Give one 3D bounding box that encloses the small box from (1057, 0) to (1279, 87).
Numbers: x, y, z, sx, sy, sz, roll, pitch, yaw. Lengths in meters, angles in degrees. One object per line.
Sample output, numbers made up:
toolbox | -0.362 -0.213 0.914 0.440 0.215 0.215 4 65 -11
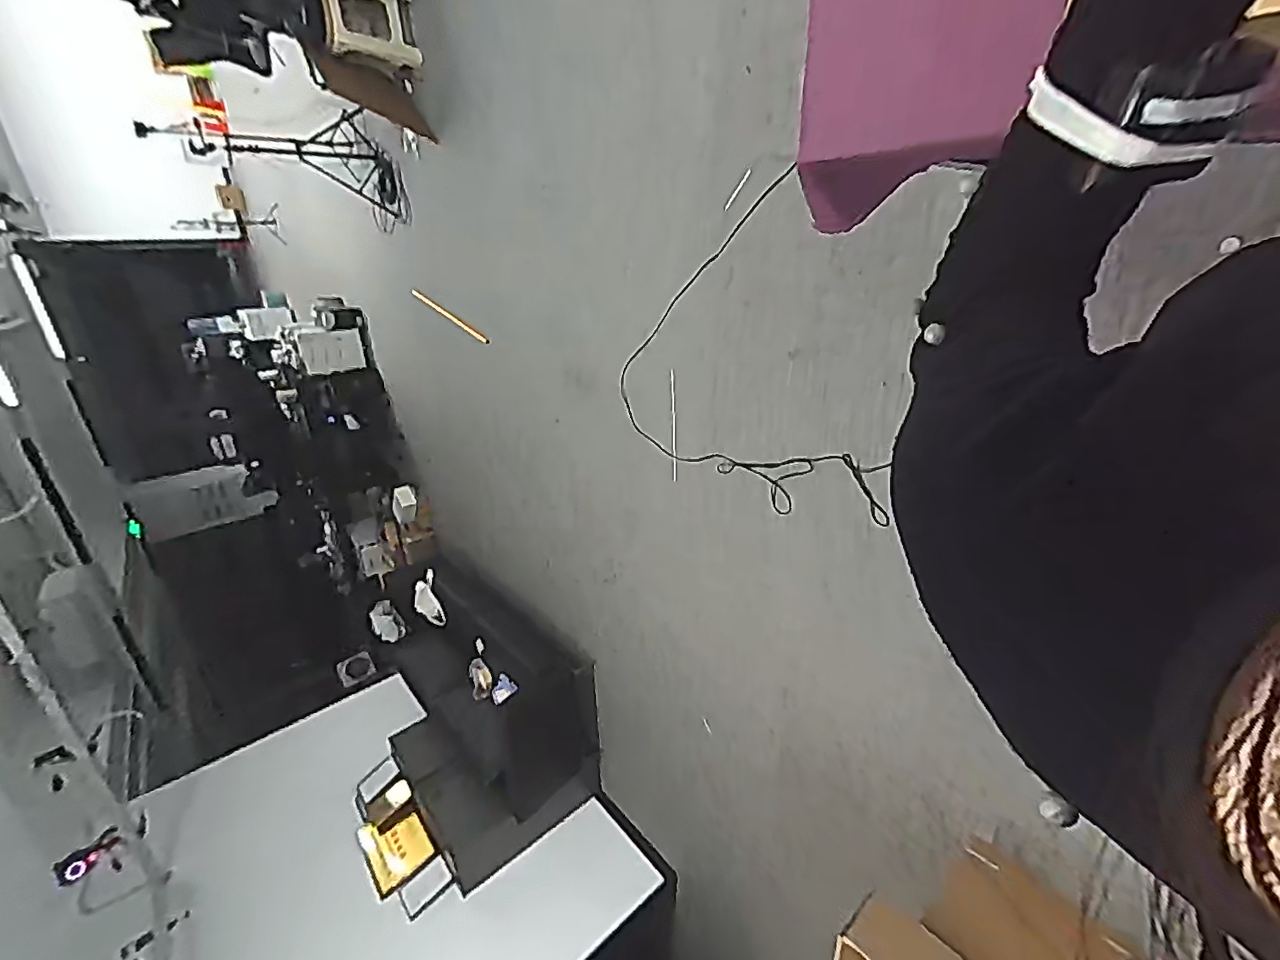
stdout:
small box | 0.463 -0.428 0.409 0.168 0.176 0.179 28 126 44
